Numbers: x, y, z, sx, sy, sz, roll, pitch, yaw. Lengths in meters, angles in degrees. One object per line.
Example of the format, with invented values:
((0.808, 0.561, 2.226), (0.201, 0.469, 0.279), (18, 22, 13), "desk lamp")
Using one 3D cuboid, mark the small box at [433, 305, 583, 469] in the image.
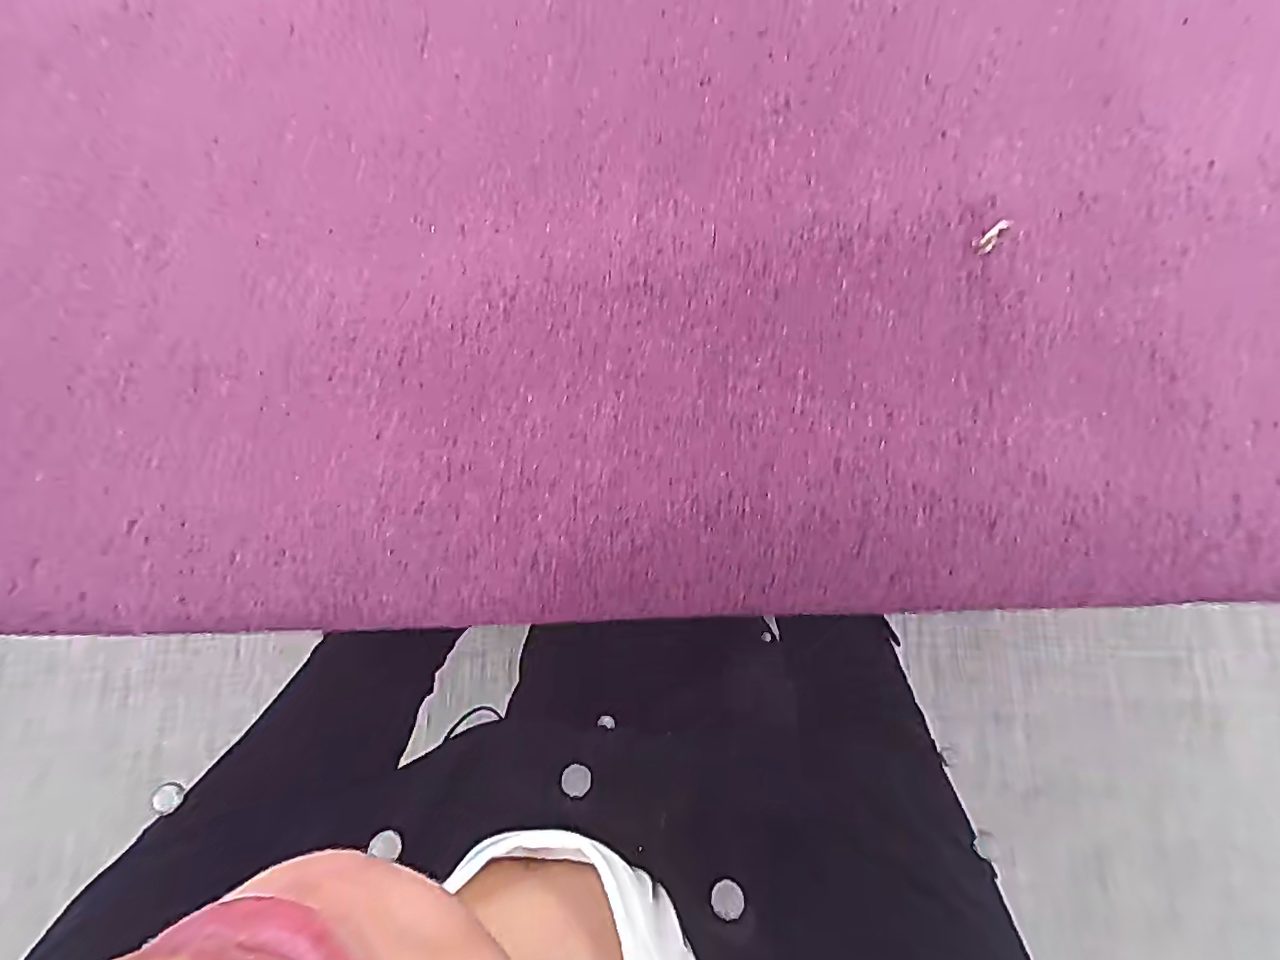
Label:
((-0.172, -0.119, 0.745), (0.168, 0.176, 0.179), (-4, 82, 1), "small box")
